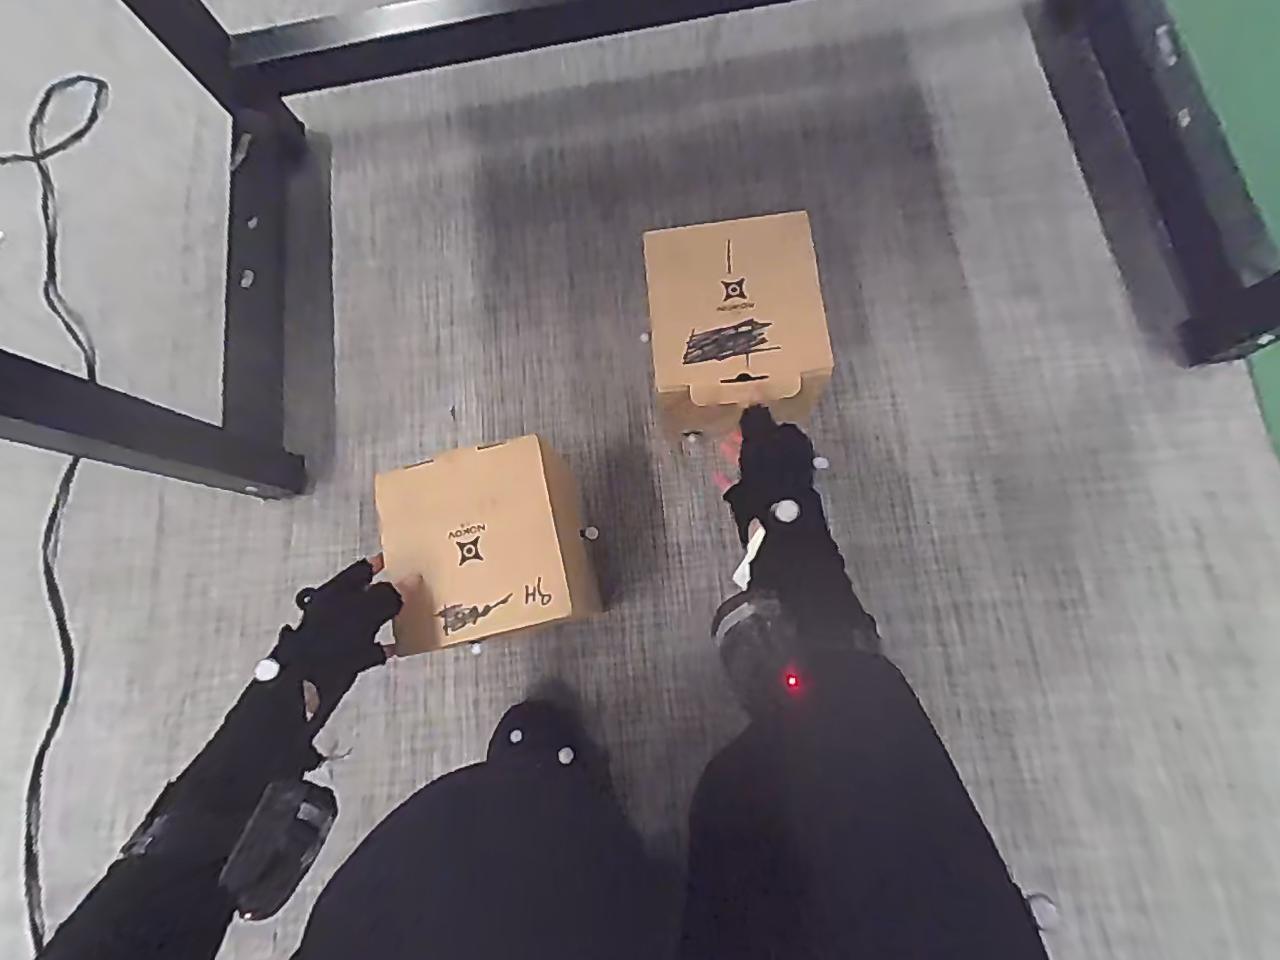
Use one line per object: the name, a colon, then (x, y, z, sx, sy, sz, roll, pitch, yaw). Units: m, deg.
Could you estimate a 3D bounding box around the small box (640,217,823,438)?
small box: (0.097, -0.152, 0.604, 0.168, 0.176, 0.179, -6, 77, 6)
